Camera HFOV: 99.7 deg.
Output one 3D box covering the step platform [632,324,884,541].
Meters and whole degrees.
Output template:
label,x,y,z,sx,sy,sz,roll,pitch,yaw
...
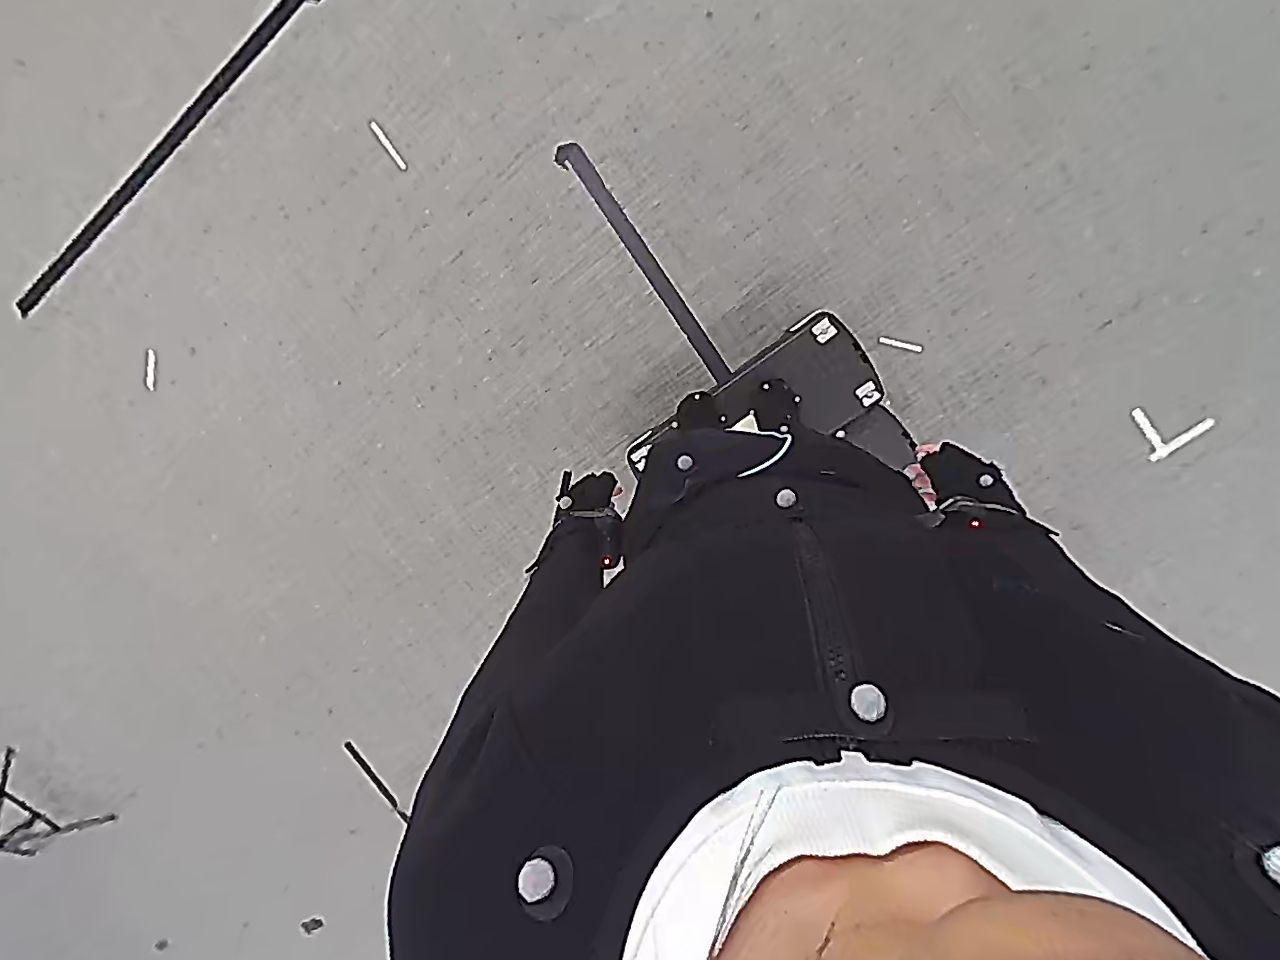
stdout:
label,x,y,z,sx,sy,sz,roll,pitch,yaw
step platform,0.310,-0.125,1.508,0.684,0.204,0.286,-37,96,11
